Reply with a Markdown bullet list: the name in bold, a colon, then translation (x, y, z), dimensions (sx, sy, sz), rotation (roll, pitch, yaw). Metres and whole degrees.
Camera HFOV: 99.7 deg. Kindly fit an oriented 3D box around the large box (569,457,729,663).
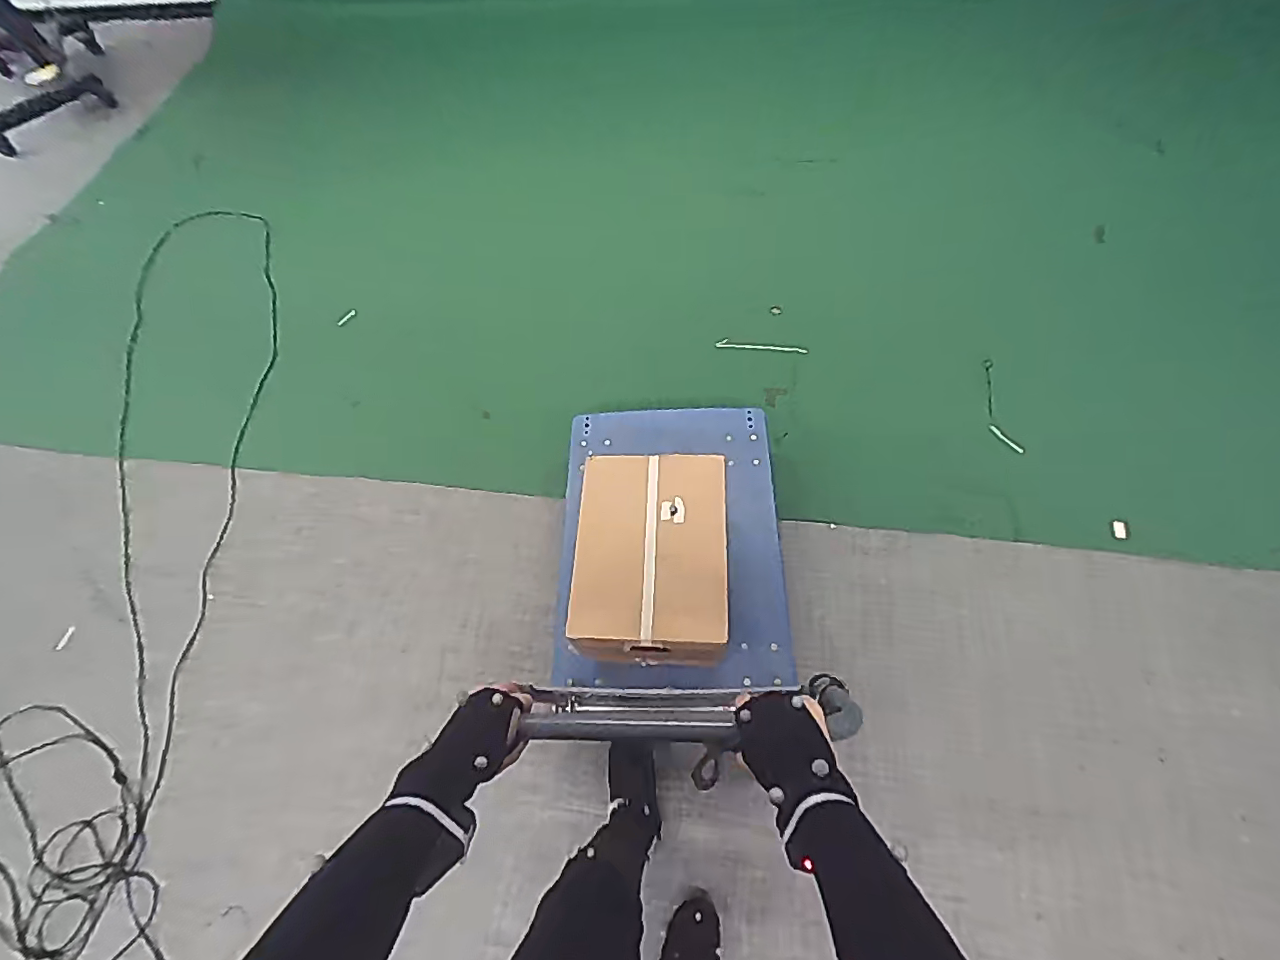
- **large box**: translation (0.038, 0.194, 1.252), dimensions (0.320, 0.320, 0.408), rotation (1, 63, 6)
